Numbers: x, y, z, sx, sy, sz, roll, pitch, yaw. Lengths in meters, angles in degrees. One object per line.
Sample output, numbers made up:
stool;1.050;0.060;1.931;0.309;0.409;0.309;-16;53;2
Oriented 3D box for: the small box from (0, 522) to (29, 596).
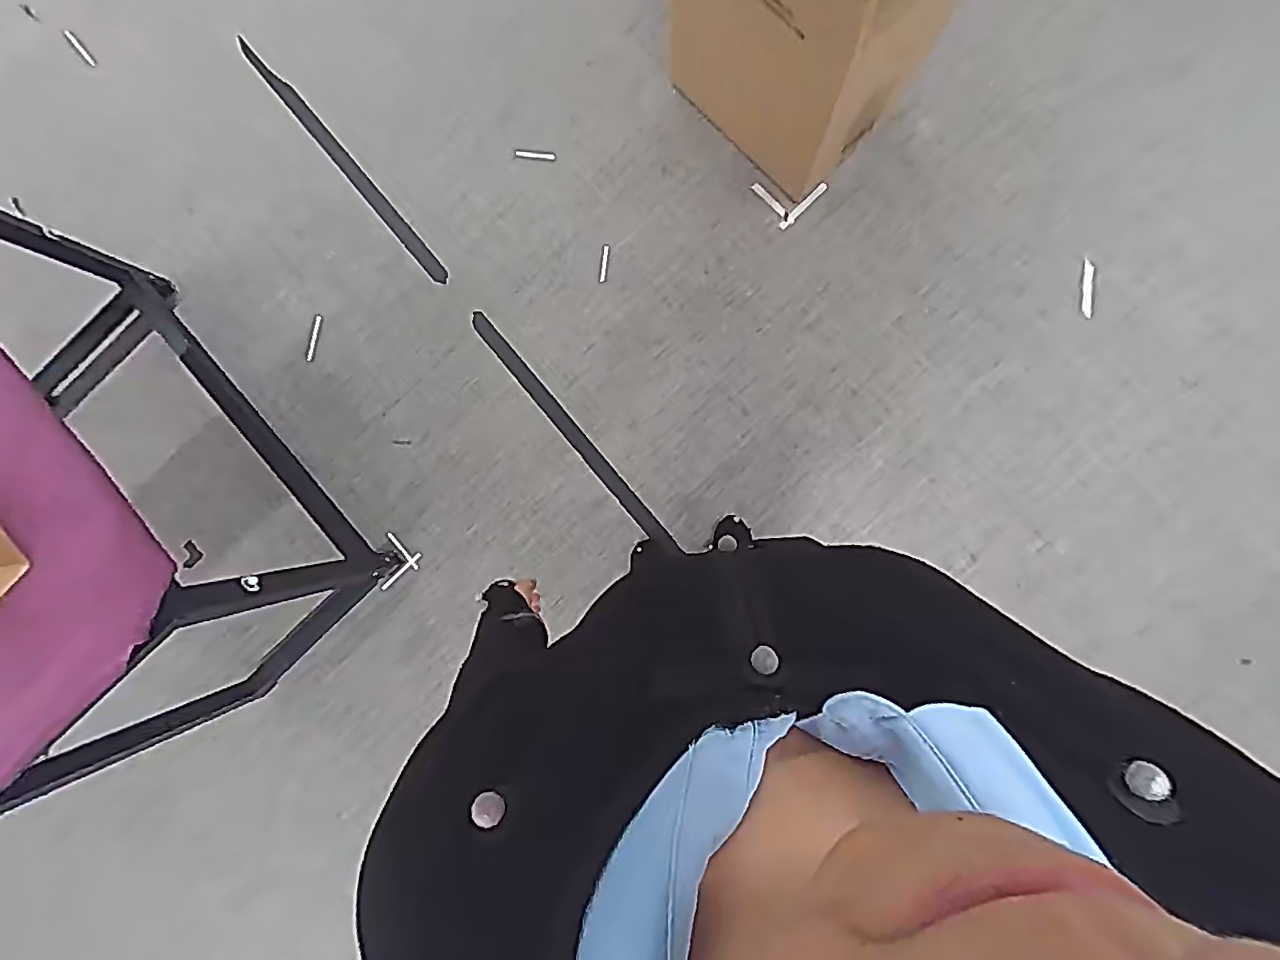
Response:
small box;-1.097;0.129;0.804;0.168;0.176;0.179;-45;84;2
